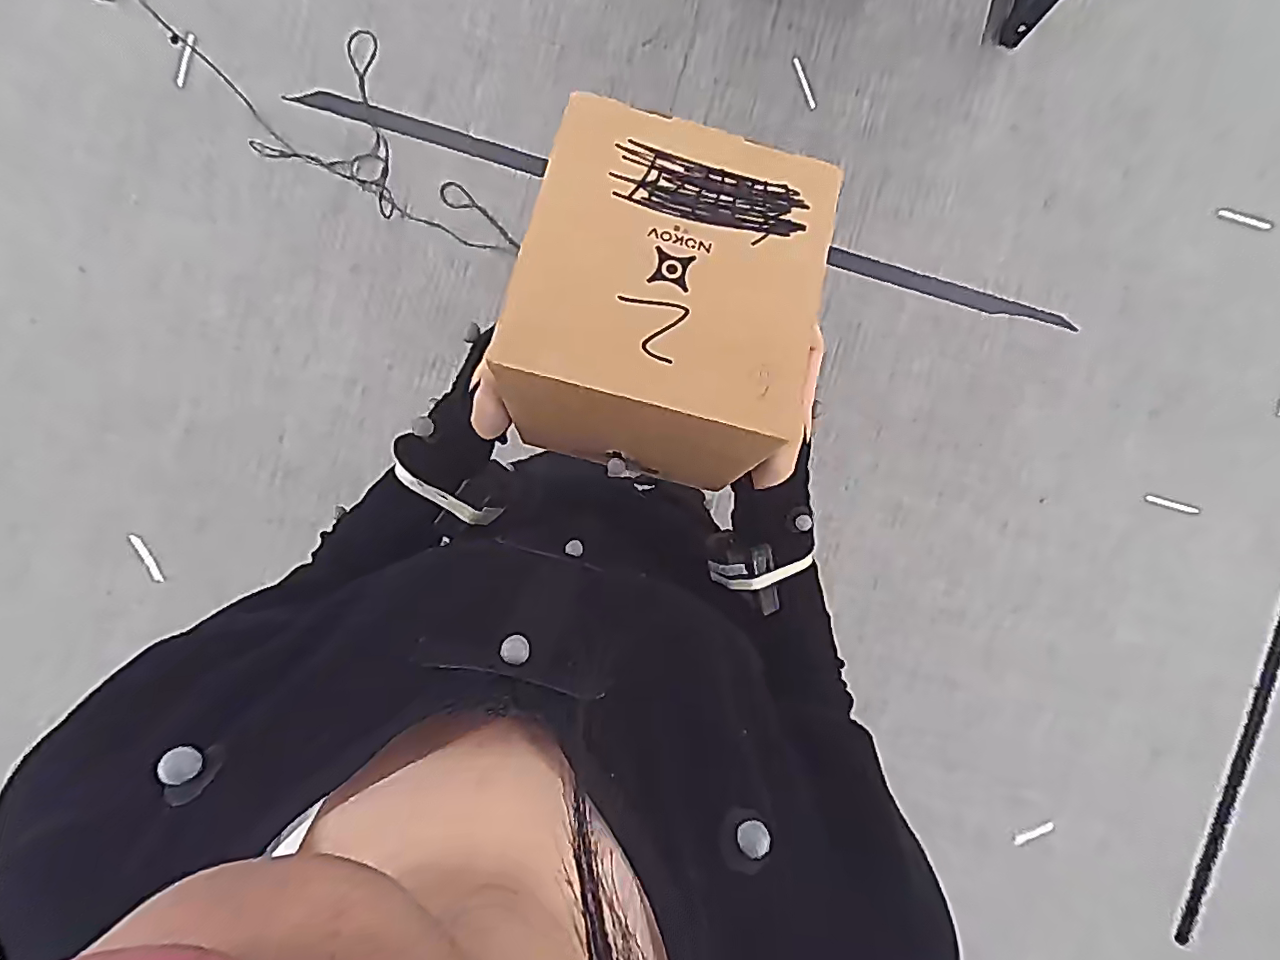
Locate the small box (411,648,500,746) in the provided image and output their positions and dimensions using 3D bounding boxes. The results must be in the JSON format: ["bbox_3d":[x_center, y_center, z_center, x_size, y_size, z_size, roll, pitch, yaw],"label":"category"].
[{"bbox_3d":[-0.470,0.556,1.405,0.168,0.176,0.179,10,92,-2],"label":"small box"}]

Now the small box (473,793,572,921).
[{"bbox_3d":[-0.265,0.864,1.257,0.179,0.176,0.168,13,93,-2],"label":"small box"}]

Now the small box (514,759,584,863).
[{"bbox_3d":[-0.246,0.862,1.423,0.179,0.176,0.168,9,92,-3],"label":"small box"}]
